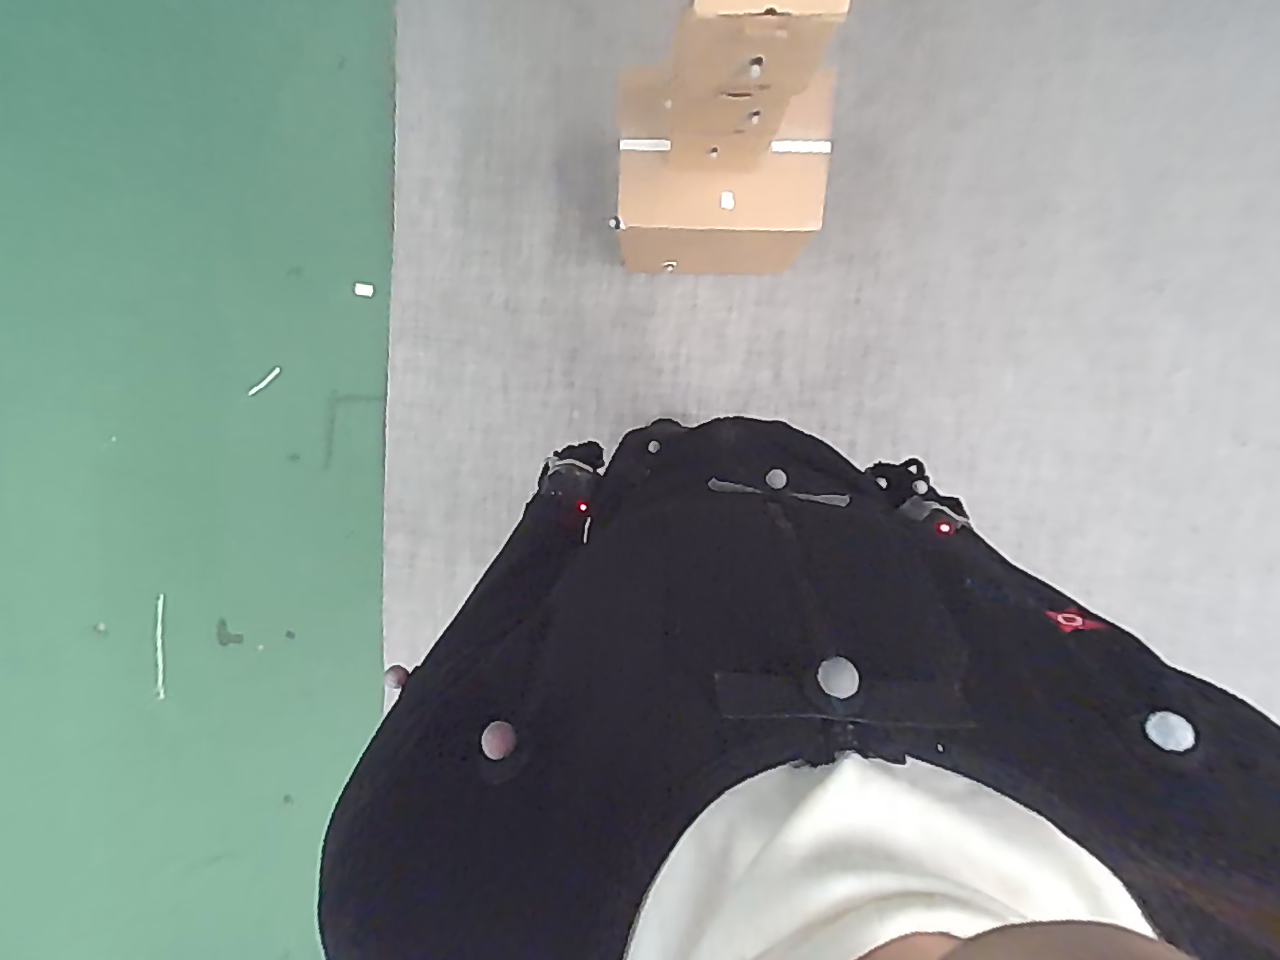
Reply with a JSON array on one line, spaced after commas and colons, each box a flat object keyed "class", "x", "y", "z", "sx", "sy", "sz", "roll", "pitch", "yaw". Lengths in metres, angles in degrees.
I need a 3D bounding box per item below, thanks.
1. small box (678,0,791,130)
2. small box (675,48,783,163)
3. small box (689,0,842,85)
[{"class": "small box", "x": 0.143, "y": -0.647, "z": 0.800, "sx": 0.168, "sy": 0.176, "sz": 0.179, "roll": 3, "pitch": 102, "yaw": 2}, {"class": "small box", "x": 0.154, "y": -0.681, "z": 0.958, "sx": 0.179, "sy": 0.176, "sz": 0.168, "roll": 2, "pitch": 103, "yaw": 3}, {"class": "small box", "x": 0.146, "y": -0.604, "z": 0.642, "sx": 0.168, "sy": 0.176, "sz": 0.179, "roll": 4, "pitch": 103, "yaw": 2}]
